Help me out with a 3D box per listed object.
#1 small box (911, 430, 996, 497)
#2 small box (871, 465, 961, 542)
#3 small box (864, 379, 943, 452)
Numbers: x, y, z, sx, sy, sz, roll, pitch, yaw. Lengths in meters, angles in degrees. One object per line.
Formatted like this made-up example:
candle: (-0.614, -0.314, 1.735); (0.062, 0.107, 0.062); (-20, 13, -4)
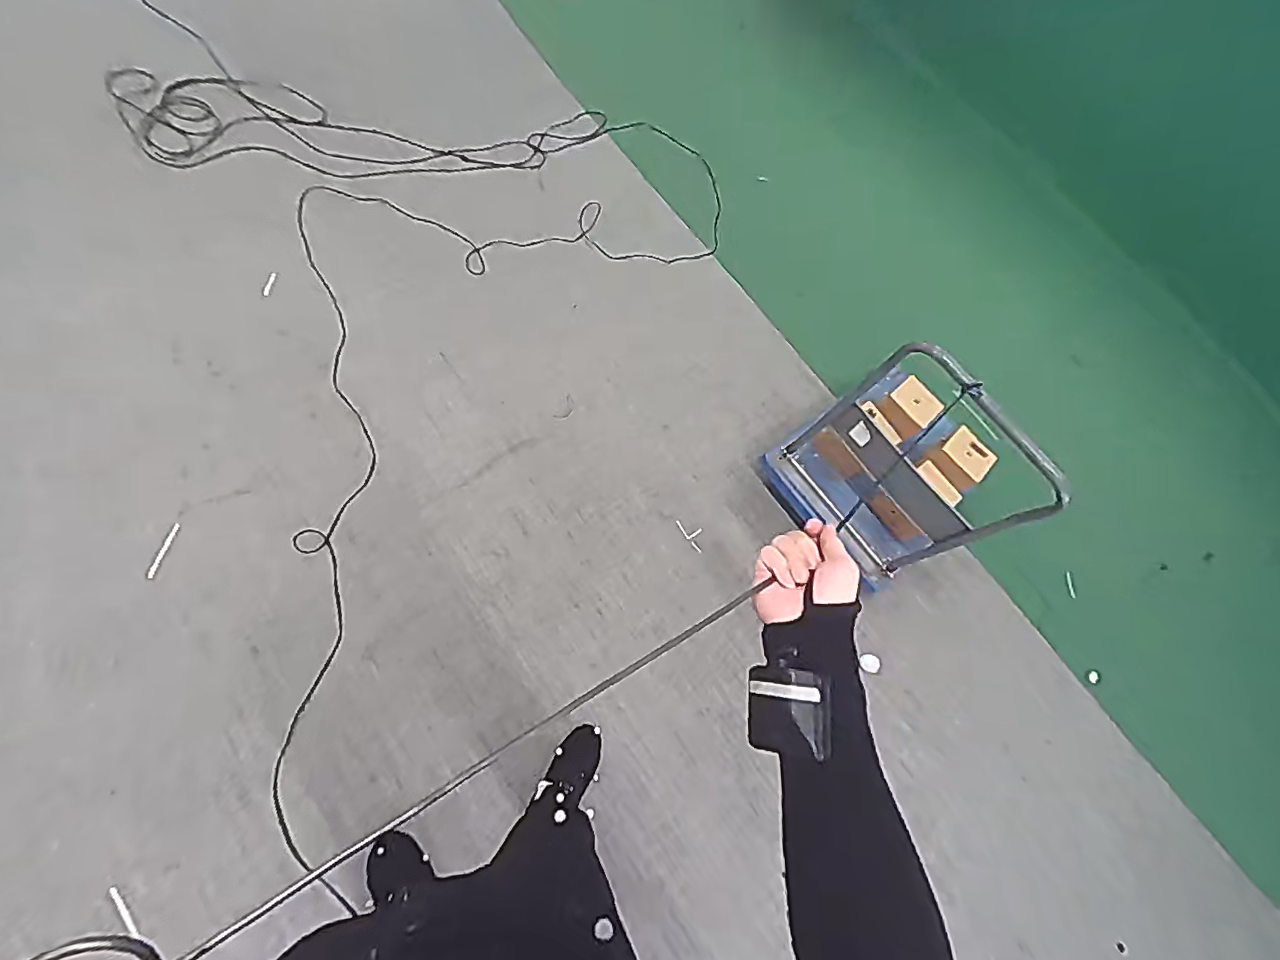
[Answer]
small box: (1.118, -0.042, 1.940); (0.179, 0.176, 0.168); (-36, 79, -29)
small box: (0.916, 0.082, 1.810); (0.179, 0.176, 0.168); (-31, 77, -28)
small box: (0.954, -0.229, 1.978); (0.179, 0.176, 0.168); (-36, 81, -30)
